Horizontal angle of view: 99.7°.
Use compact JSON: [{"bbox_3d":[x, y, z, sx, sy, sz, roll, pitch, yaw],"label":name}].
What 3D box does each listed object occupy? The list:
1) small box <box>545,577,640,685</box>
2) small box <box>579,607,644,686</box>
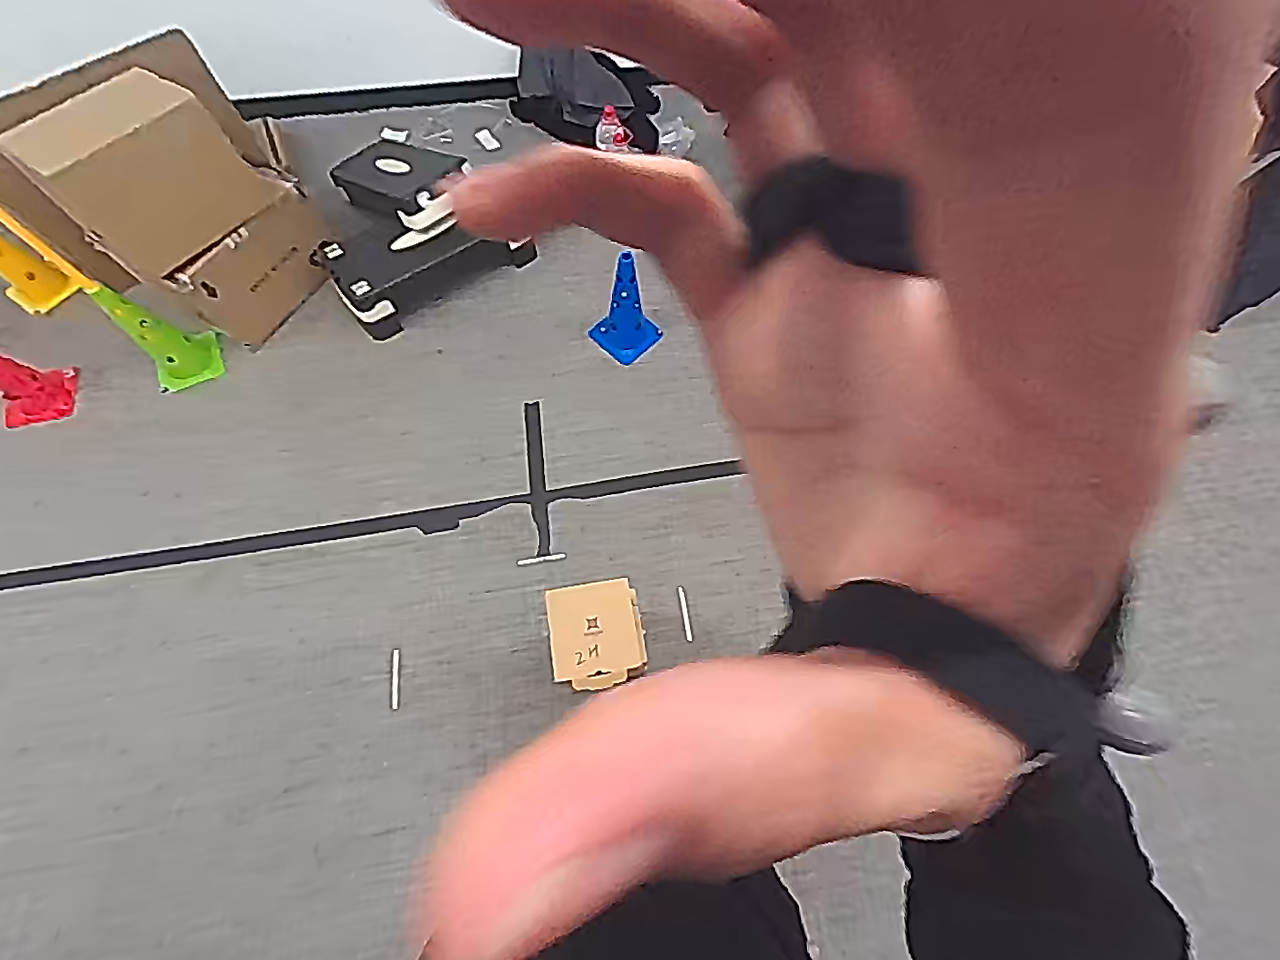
[{"bbox_3d":[-0.098,0.311,1.100,0.168,0.176,0.179,-8,68,-6],"label":"small box"},{"bbox_3d":[-0.087,0.430,1.409,0.168,0.176,0.179,-12,67,-6],"label":"small box"}]
